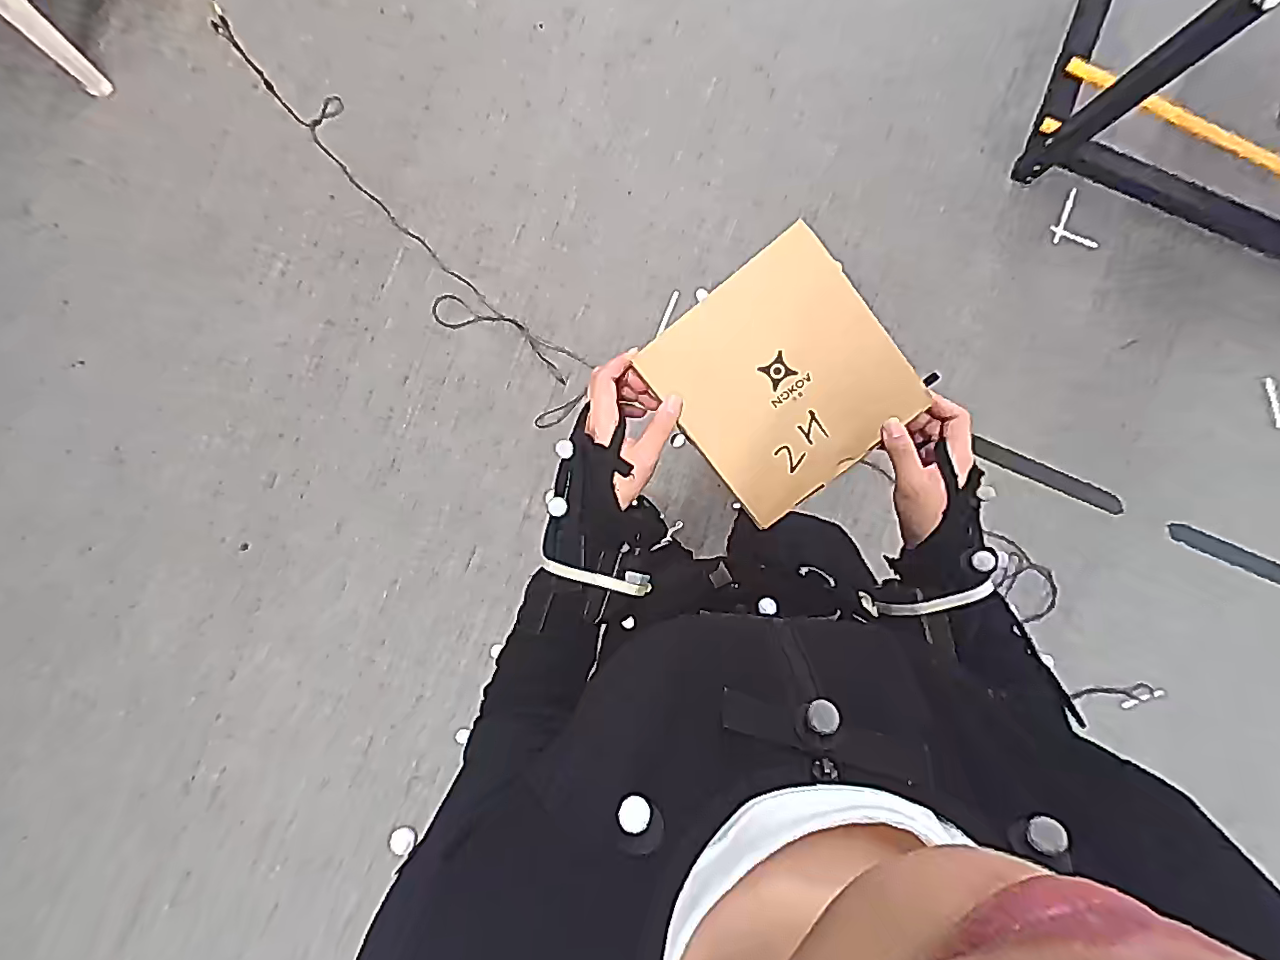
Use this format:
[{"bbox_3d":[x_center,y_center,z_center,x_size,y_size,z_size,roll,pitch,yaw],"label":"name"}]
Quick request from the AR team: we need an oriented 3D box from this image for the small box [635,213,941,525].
[{"bbox_3d":[0.112,-0.090,0.483,0.168,0.176,0.179,-38,96,8],"label":"small box"}]
